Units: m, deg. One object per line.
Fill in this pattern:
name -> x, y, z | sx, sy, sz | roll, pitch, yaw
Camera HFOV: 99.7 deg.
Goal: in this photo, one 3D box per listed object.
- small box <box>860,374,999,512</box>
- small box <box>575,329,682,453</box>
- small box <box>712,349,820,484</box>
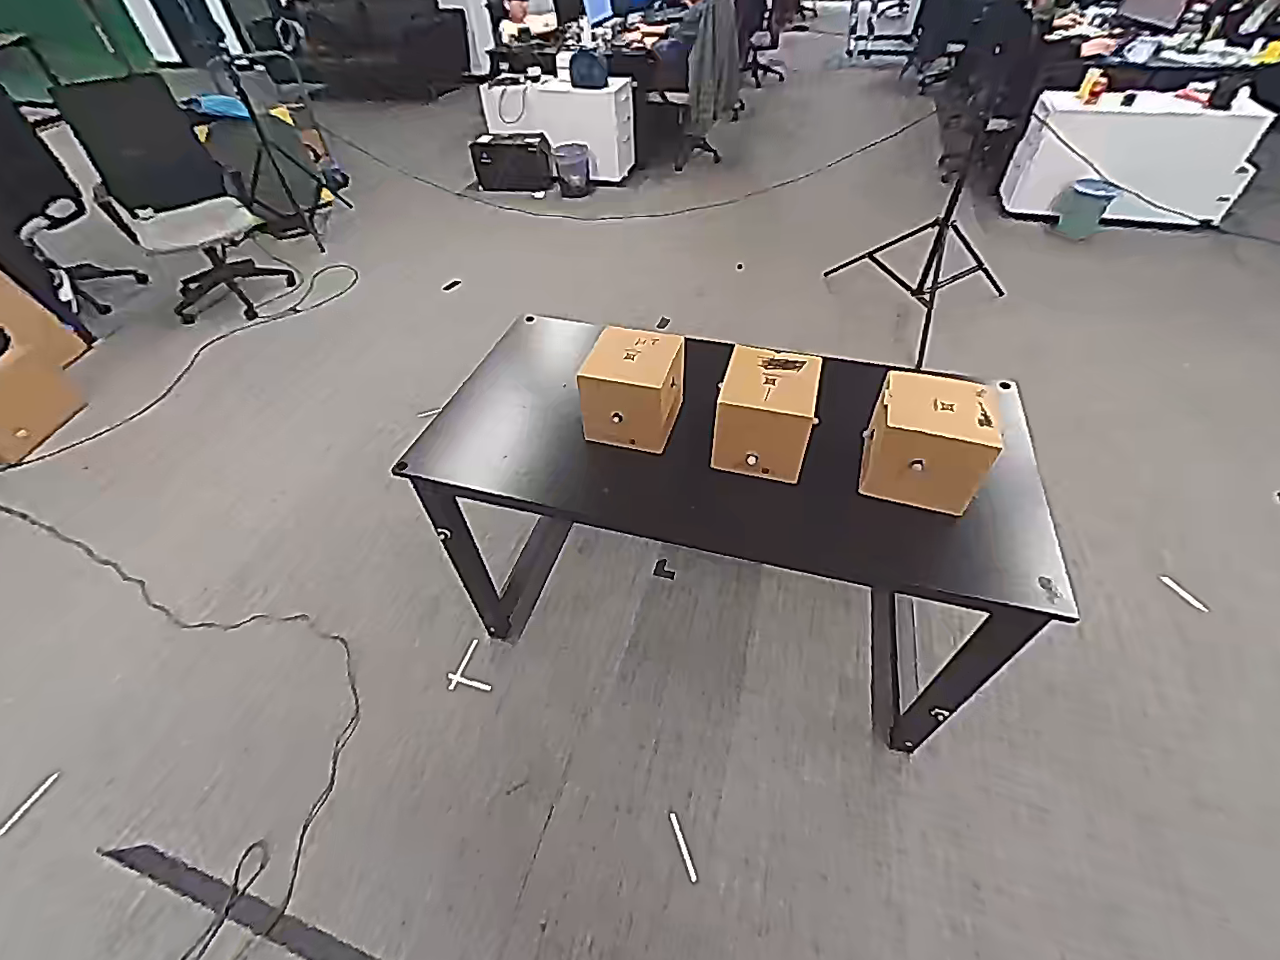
small box -> 0.503, -0.064, 0.963 | 0.179, 0.176, 0.168 | 13, 49, 15
small box -> -0.015, -0.178, 1.092 | 0.168, 0.176, 0.179 | 12, 49, 12
small box -> 0.235, -0.120, 1.028 | 0.168, 0.176, 0.179 | 11, 49, 13
